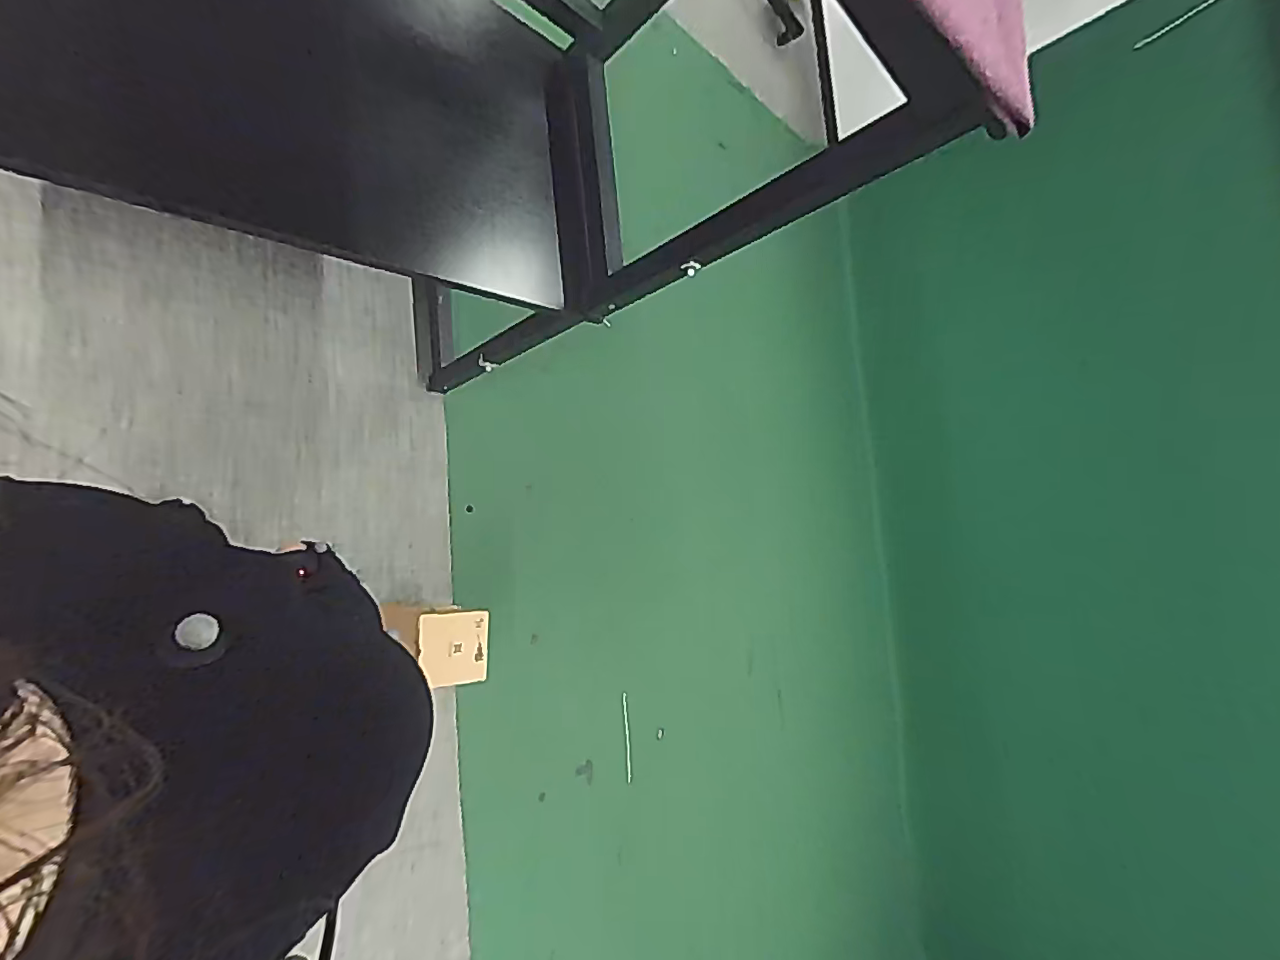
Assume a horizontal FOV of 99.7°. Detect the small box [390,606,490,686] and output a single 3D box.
[{"bbox_3d":[-0.486,0.394,1.308,0.179,0.176,0.168,10,76,-43],"label":"small box"}]
